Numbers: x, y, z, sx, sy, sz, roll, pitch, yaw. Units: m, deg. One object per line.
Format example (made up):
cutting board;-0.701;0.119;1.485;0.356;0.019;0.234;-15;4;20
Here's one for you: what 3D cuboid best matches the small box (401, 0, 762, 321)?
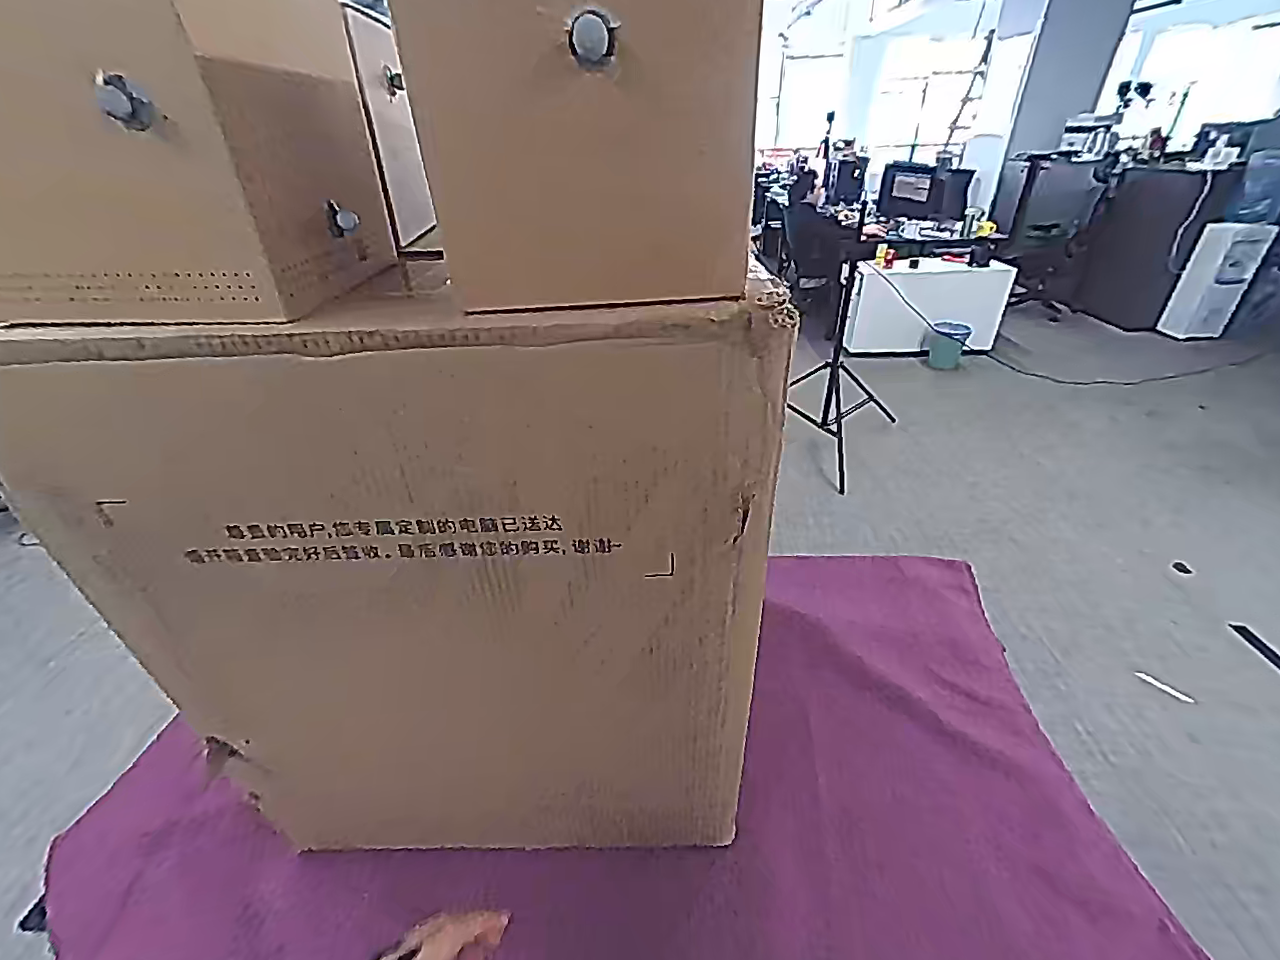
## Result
small box;-0.023;-0.209;0.332;0.168;0.176;0.179;-3;32;1
